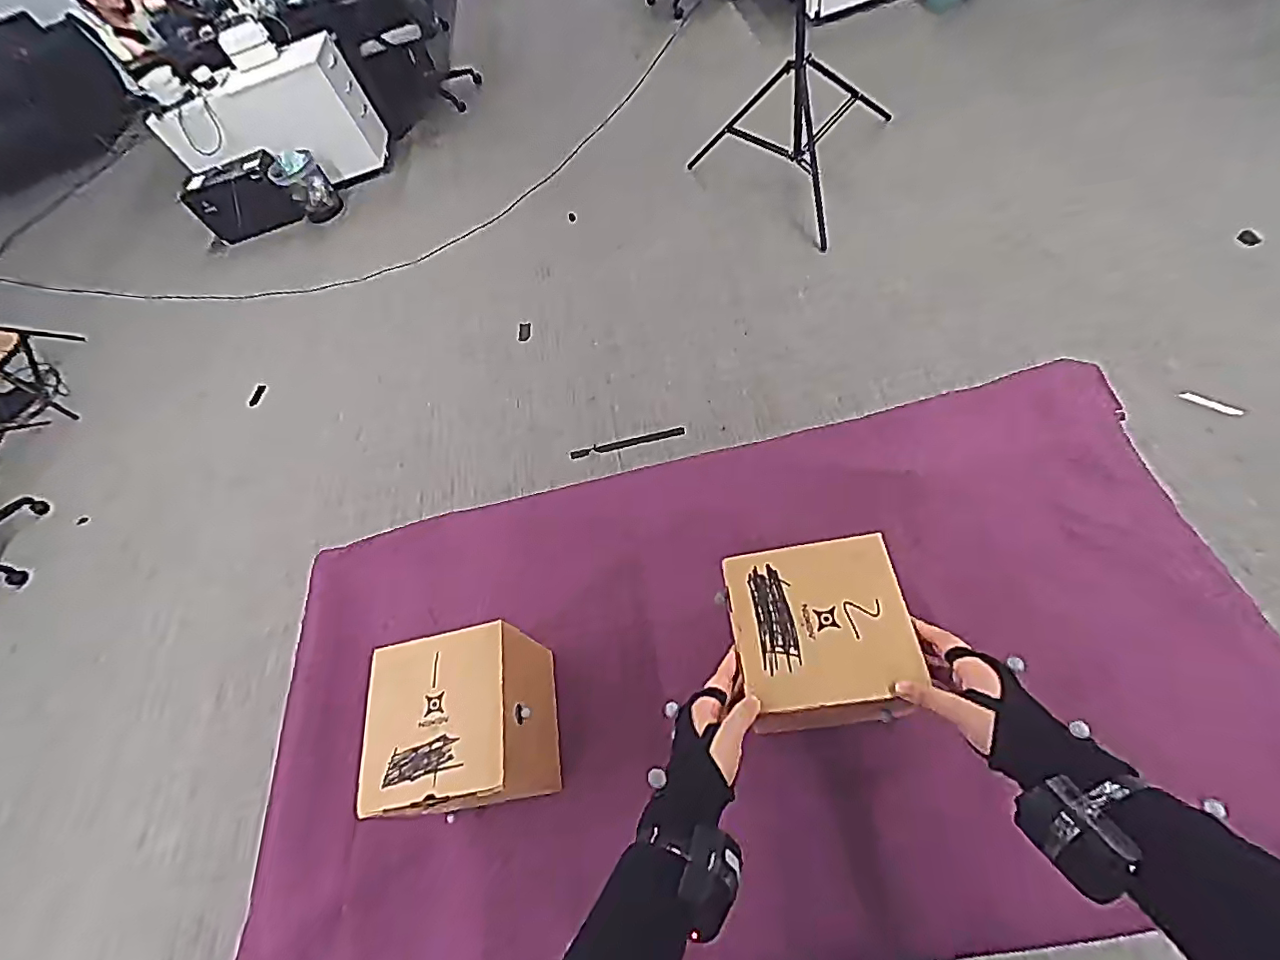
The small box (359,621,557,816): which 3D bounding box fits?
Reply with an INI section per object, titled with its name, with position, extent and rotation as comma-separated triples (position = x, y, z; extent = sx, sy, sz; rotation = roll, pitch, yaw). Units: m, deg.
[small box]
position = -0.208, 0.294, 0.661
extent = 0.168, 0.176, 0.179
rotation = -14, 57, 6
